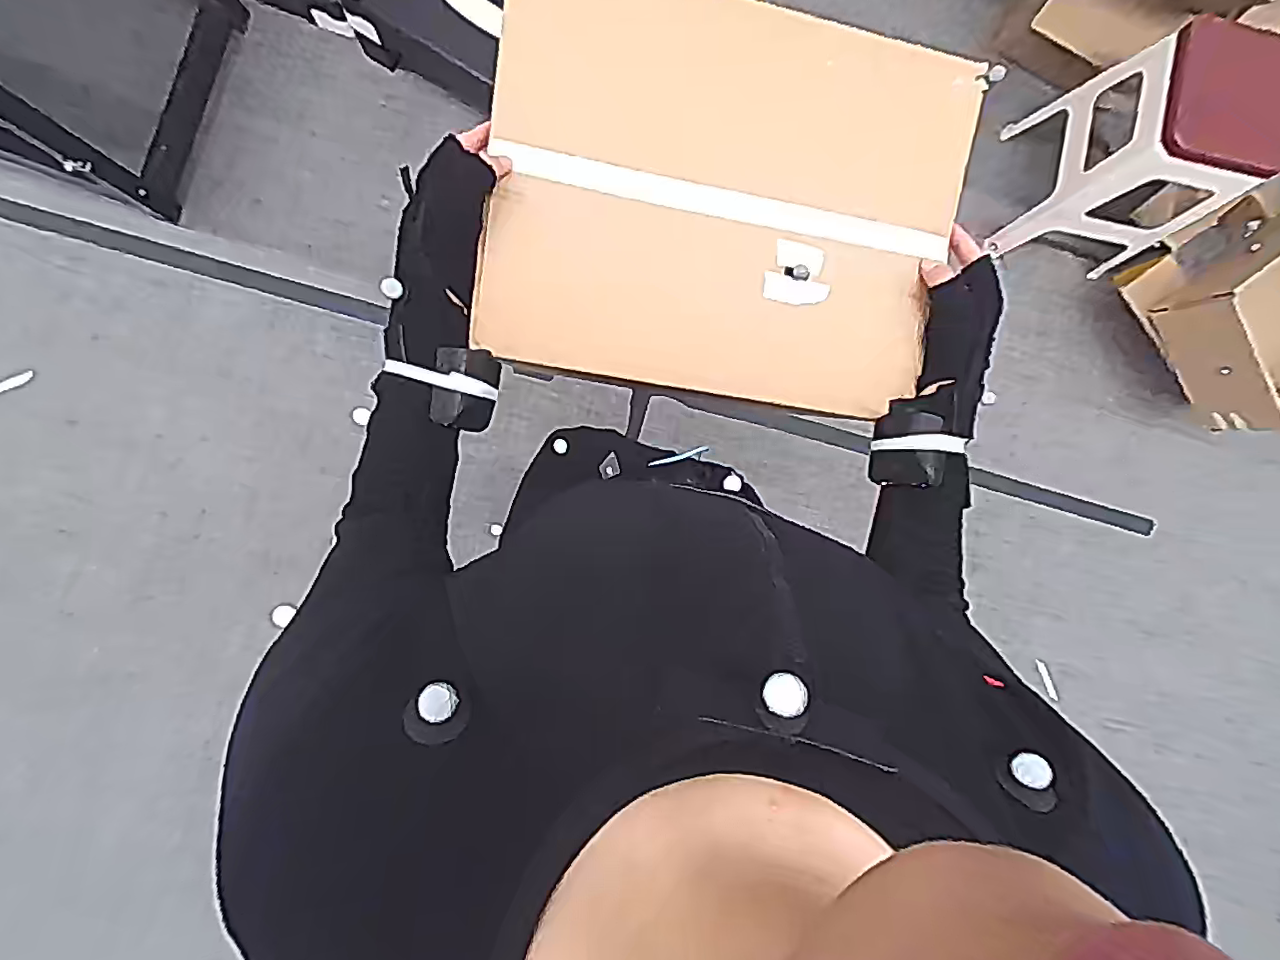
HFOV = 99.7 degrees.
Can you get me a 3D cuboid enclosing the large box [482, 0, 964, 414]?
[{"bbox_3d":[0.056,-0.260,0.620,0.408,0.320,0.320,8,99,-9],"label":"large box"}]
